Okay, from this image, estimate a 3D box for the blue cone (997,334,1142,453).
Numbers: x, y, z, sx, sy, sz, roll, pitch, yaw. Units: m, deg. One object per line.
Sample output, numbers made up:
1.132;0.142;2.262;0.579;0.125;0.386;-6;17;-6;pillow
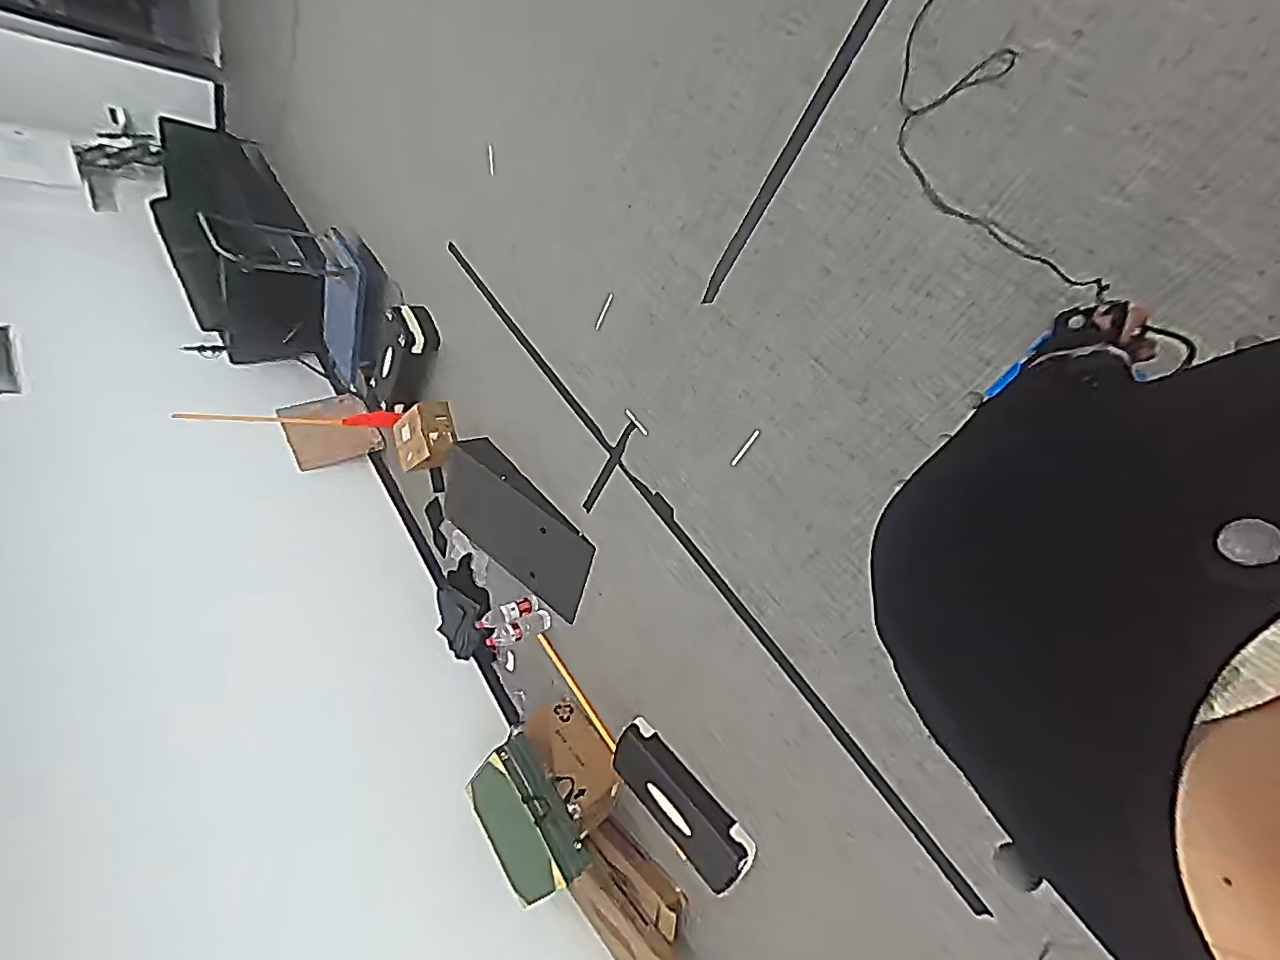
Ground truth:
0.742;-0.144;0.984;0.192;0.380;0.193;52;133;23;blue cone
